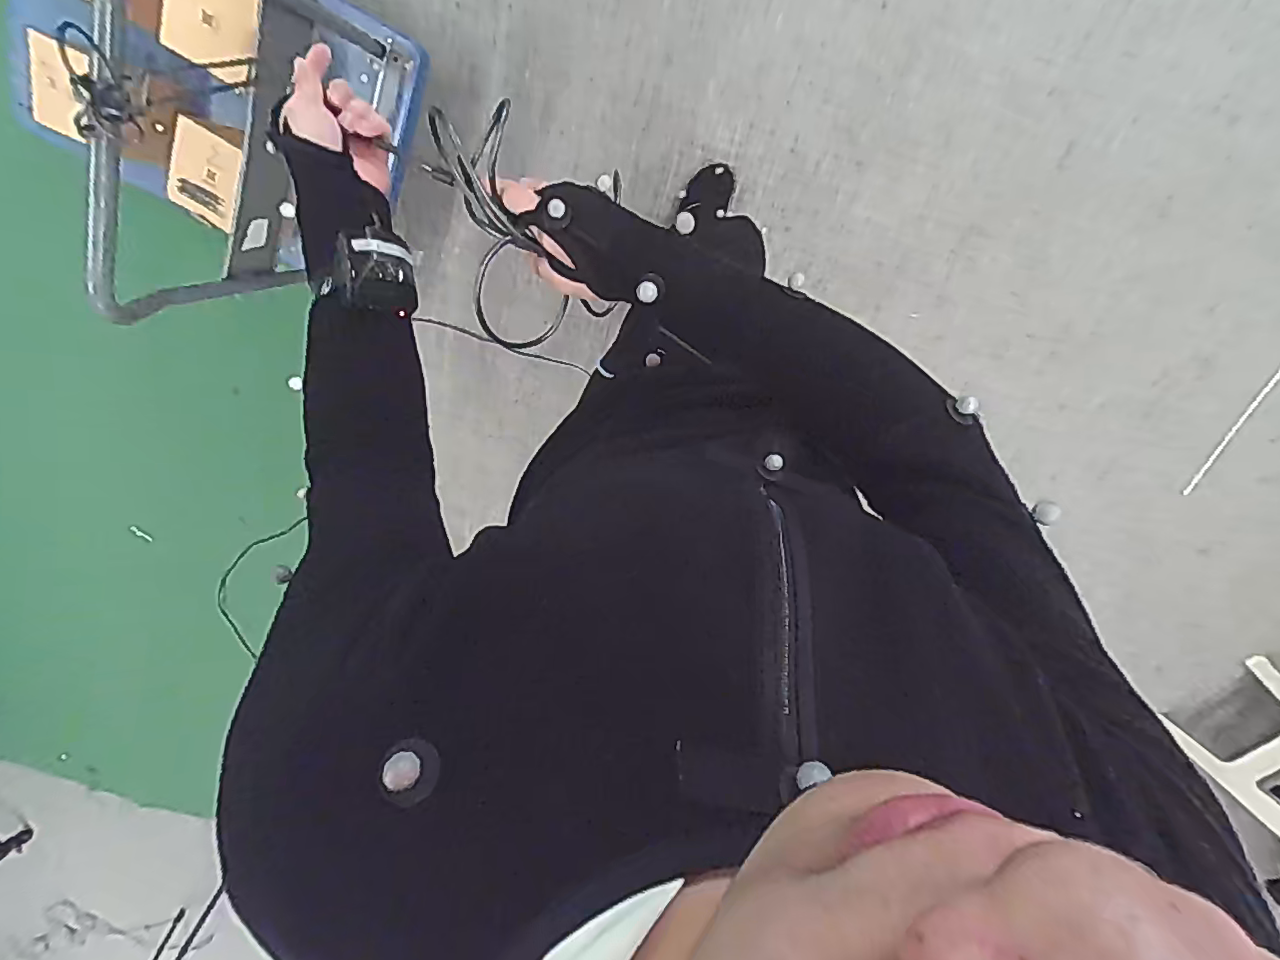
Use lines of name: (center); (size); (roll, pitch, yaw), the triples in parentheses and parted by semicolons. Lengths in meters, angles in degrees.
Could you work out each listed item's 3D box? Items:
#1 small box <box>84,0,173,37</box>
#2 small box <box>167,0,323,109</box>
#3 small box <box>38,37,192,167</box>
small box: (-0.999, -1.000, 1.059); (0.179, 0.176, 0.168); (26, 116, -6)
small box: (-0.787, -0.885, 1.089); (0.179, 0.176, 0.168); (29, 115, -8)
small box: (-1.118, -0.801, 1.167); (0.179, 0.176, 0.168); (25, 114, -5)
